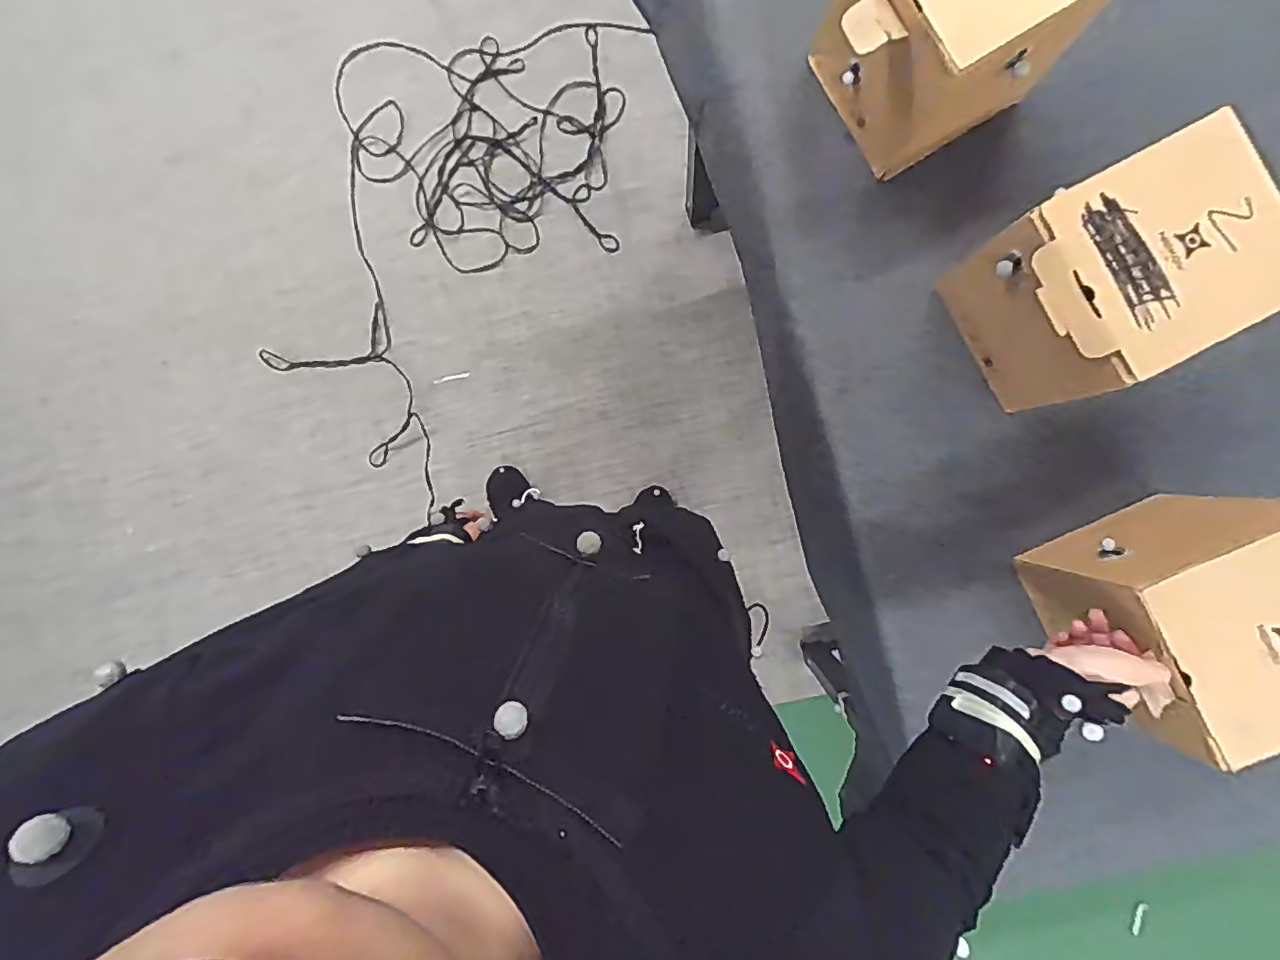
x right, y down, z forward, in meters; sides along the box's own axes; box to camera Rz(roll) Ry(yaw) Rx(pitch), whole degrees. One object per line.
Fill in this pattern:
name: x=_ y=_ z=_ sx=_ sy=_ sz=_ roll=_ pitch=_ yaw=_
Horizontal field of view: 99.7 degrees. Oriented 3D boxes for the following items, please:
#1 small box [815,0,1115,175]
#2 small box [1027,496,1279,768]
small box: x=0.300 y=-0.445 z=0.521 sx=0.179 sy=0.176 sz=0.168 roll=-30 pitch=89 yaw=4
small box: x=0.516 y=0.124 z=0.512 sx=0.179 sy=0.176 sz=0.168 roll=-26 pitch=90 yaw=2
